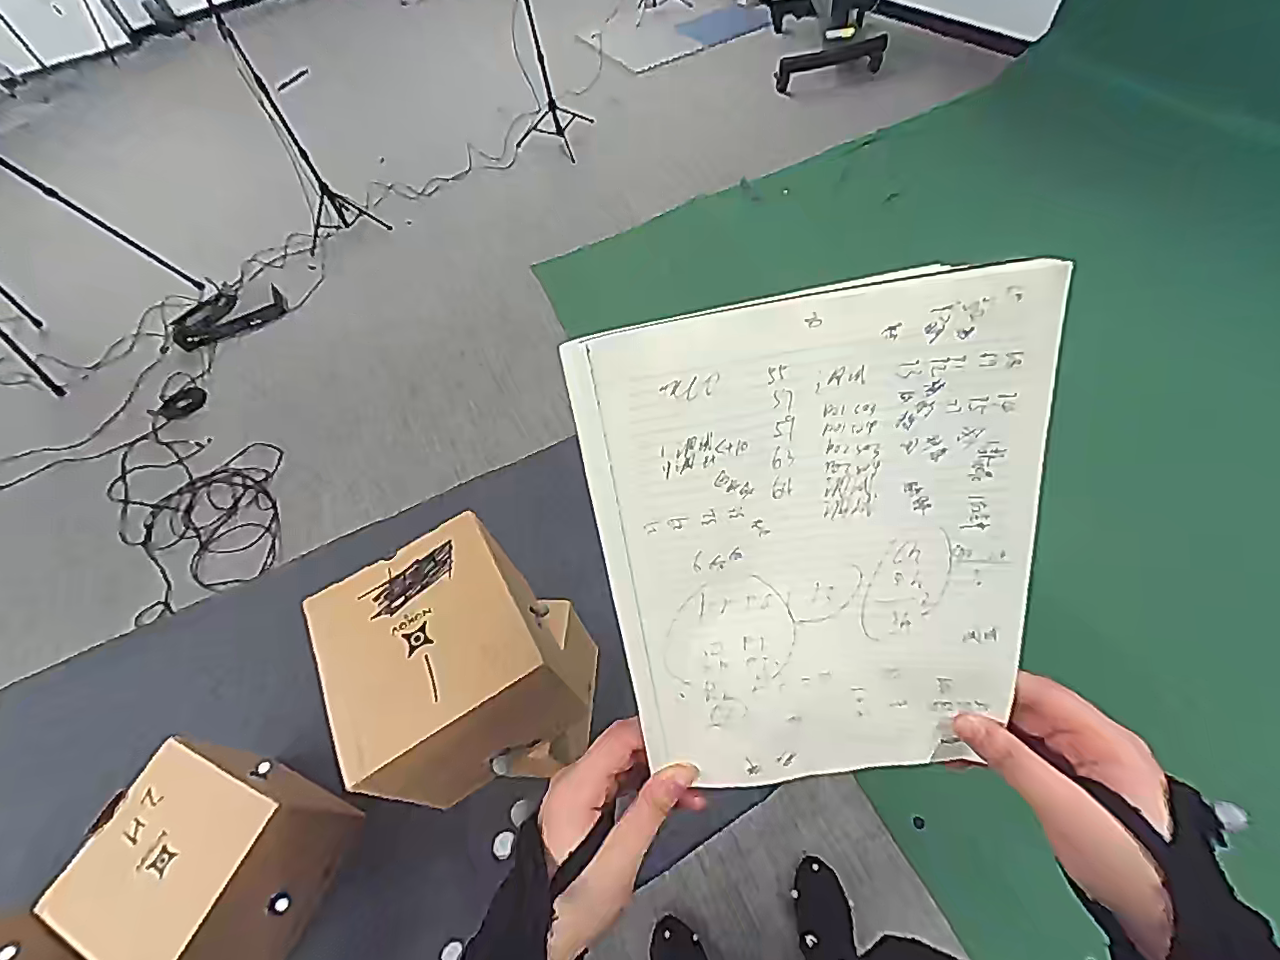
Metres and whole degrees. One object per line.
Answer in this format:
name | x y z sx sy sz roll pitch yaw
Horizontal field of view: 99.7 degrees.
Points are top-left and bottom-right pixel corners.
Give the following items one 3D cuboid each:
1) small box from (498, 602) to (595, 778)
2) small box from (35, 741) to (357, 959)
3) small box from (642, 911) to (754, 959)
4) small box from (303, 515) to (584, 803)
small box | -0.159 0.255 0.651 0.179 0.176 0.168 -3 55 9
small box | -0.458 0.414 0.591 0.179 0.176 0.168 15 59 19
small box | 0.104 0.949 0.998 0.176 0.168 0.179 35 38 -2
small box | -0.174 0.172 0.509 0.168 0.176 0.179 -30 56 -10
